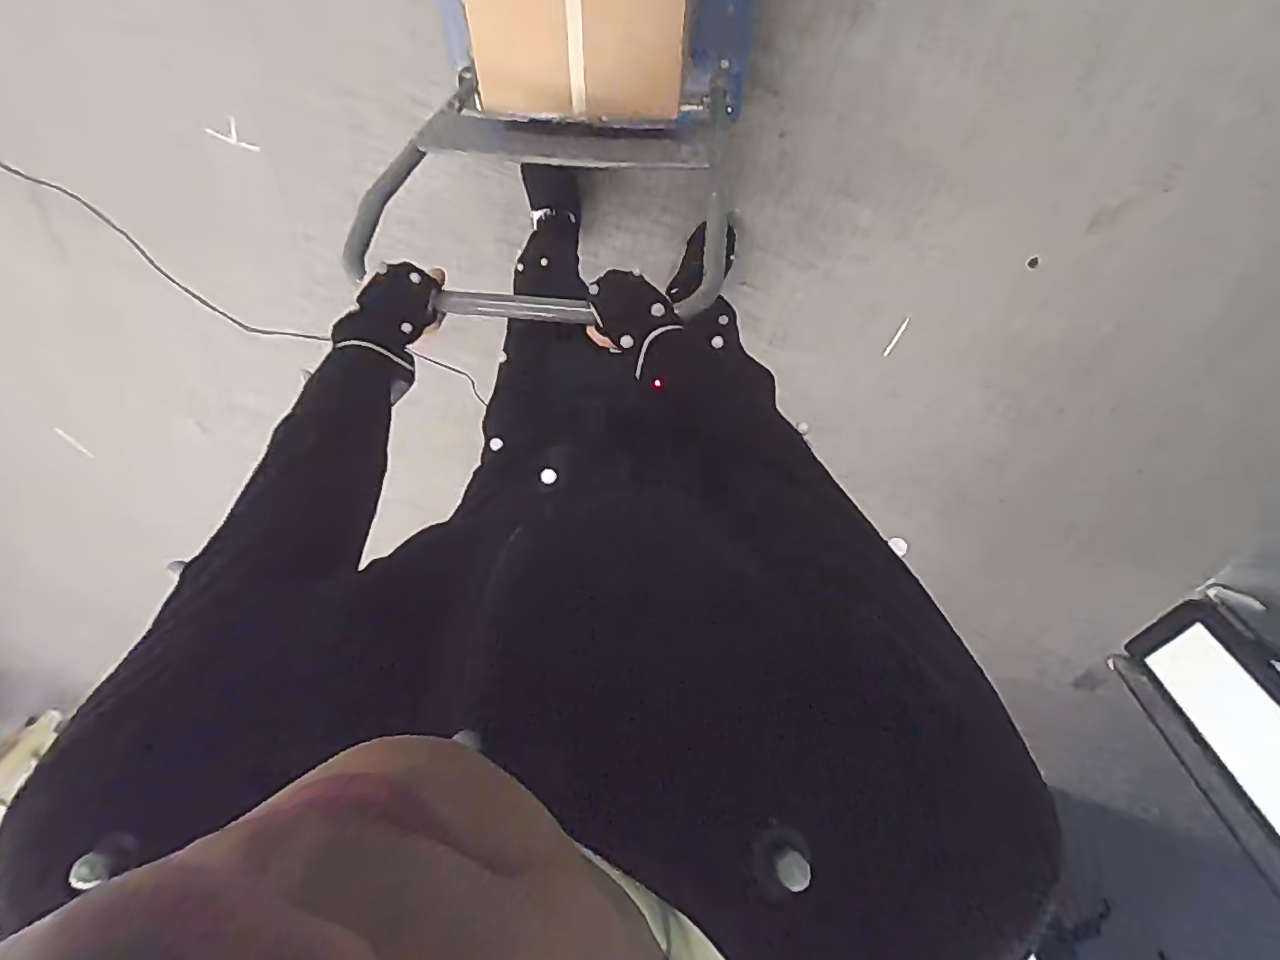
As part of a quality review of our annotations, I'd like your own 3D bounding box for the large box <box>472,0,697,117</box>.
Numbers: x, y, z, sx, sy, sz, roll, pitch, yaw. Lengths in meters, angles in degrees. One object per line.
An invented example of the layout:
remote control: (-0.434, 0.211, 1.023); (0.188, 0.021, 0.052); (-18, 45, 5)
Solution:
large box: (-0.068, -0.817, 0.806); (0.320, 0.320, 0.408); (5, 138, 3)
